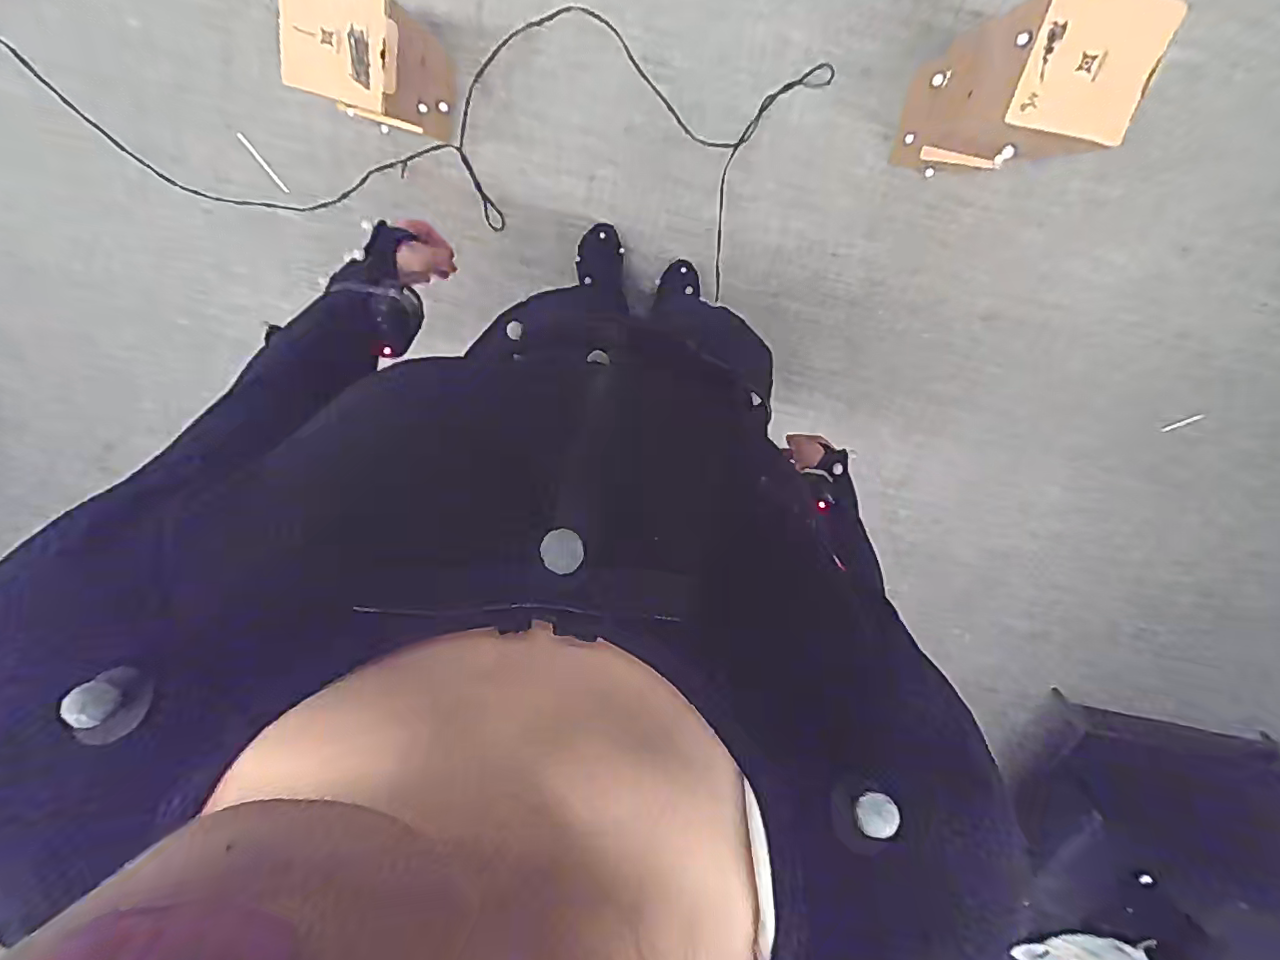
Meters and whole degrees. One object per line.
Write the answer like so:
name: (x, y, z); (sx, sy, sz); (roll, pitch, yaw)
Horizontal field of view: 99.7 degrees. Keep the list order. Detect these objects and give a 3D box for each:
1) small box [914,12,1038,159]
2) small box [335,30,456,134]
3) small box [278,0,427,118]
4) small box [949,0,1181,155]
small box: (0.627, -0.679, 0.953); (0.179, 0.176, 0.168); (11, 116, -2)
small box: (-0.489, -0.822, 1.098); (0.179, 0.176, 0.168); (14, 116, -4)
small box: (-0.493, -0.758, 0.947); (0.179, 0.176, 0.168); (15, 116, -4)
small box: (0.614, -0.599, 0.810); (0.179, 0.176, 0.168); (10, 116, -4)
